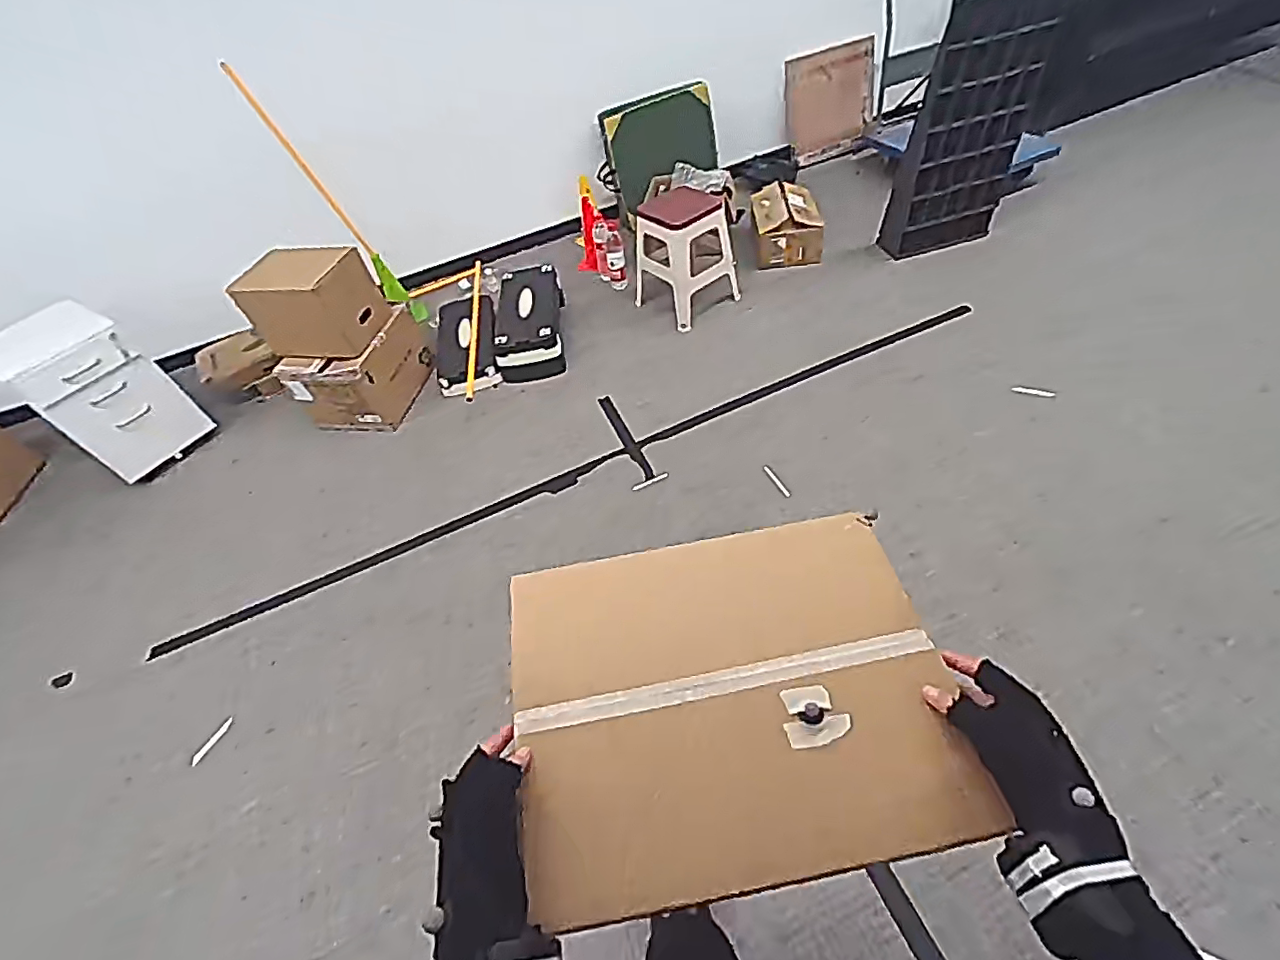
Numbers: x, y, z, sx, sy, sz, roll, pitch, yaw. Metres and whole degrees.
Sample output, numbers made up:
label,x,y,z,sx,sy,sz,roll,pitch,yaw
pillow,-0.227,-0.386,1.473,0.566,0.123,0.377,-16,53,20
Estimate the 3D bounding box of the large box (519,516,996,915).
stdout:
label,x,y,z,sx,sy,sz,roll,pitch,yaw
large box,0.092,0.287,0.650,0.408,0.320,0.320,-10,52,-2
